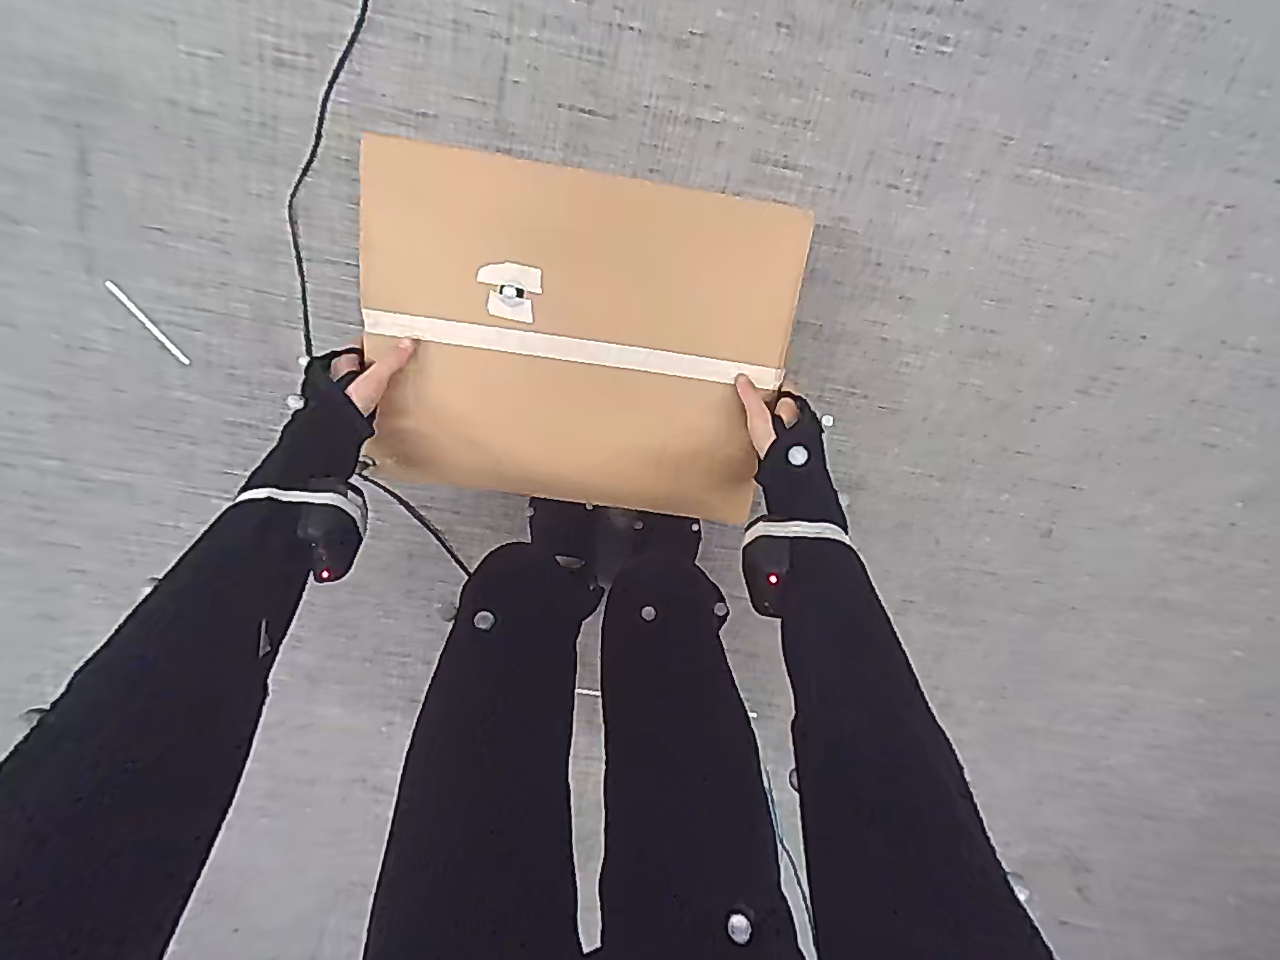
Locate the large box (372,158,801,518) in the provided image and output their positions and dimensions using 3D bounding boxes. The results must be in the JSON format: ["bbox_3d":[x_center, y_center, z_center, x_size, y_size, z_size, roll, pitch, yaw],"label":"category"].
[{"bbox_3d":[-0.063,-0.171,0.680,0.408,0.320,0.320,8,108,-3],"label":"large box"}]
